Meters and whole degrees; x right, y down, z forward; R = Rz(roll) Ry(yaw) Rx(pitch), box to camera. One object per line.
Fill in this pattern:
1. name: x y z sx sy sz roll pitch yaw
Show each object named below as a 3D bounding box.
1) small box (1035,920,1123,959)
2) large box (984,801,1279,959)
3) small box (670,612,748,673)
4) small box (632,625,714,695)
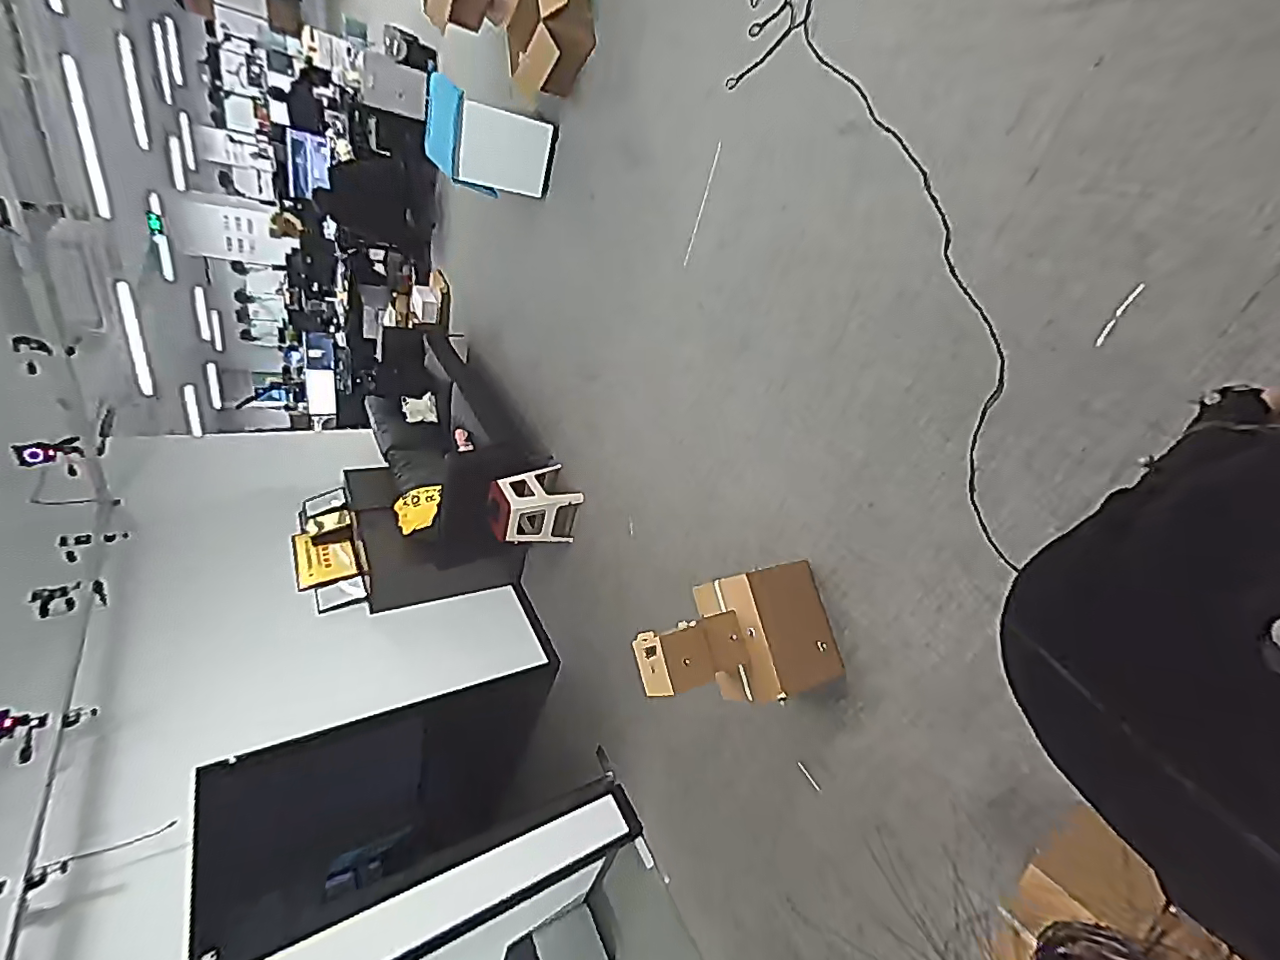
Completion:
1. small box: 0.828 0.977 1.001 0.168 0.176 0.179 41 127 46
2. large box: 1.040 0.994 1.130 0.408 0.320 0.320 33 123 47
3. small box: 0.232 0.549 1.813 0.168 0.176 0.179 -41 61 52
4. small box: 0.105 0.566 1.708 0.168 0.176 0.179 -34 68 54
